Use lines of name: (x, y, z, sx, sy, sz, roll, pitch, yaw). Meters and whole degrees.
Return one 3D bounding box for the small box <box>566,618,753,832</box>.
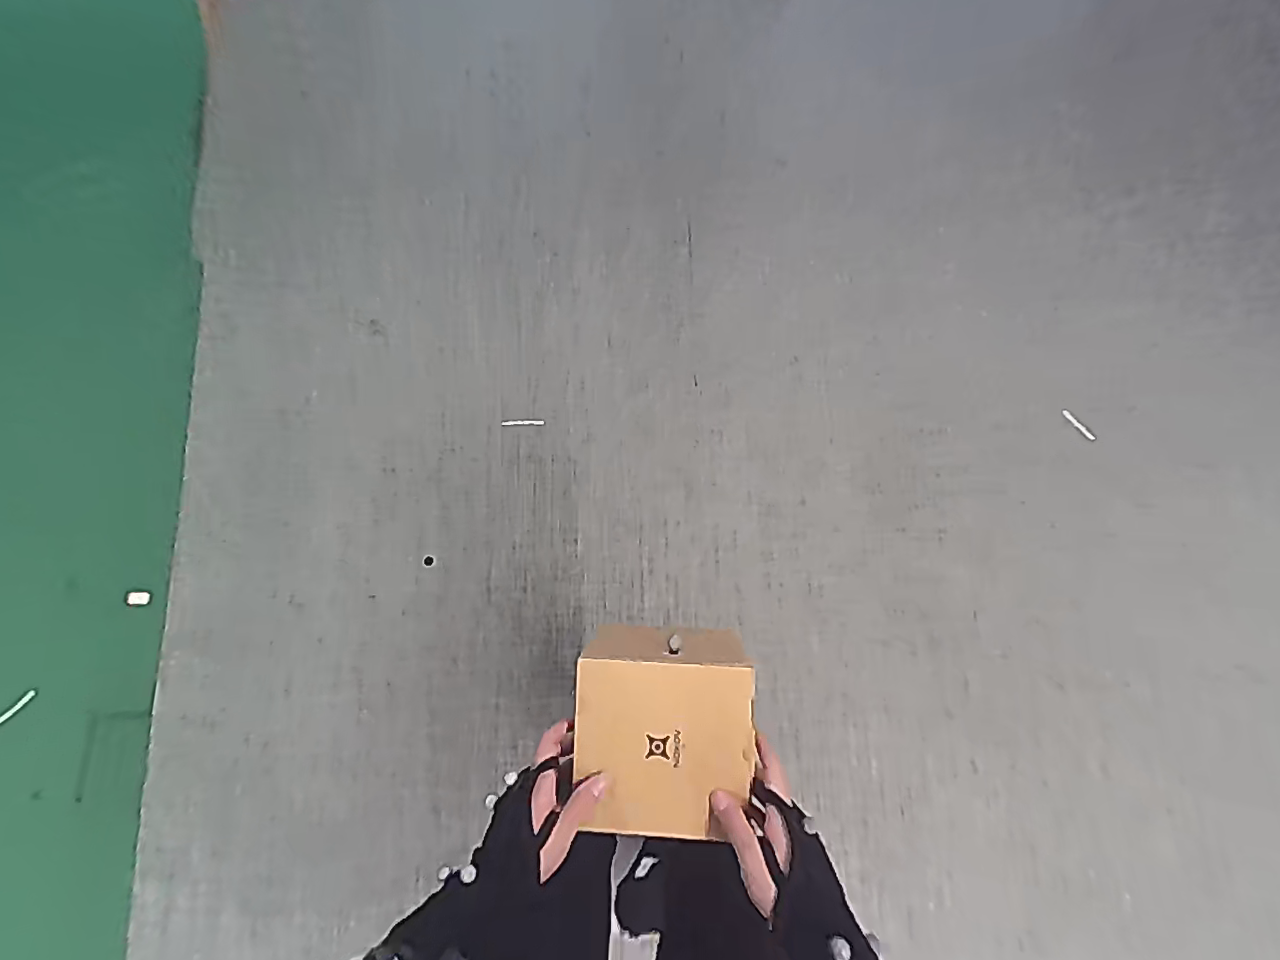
small box: (0.024, 0.252, 0.597, 0.179, 0.176, 0.168, 2, 86, 3)
